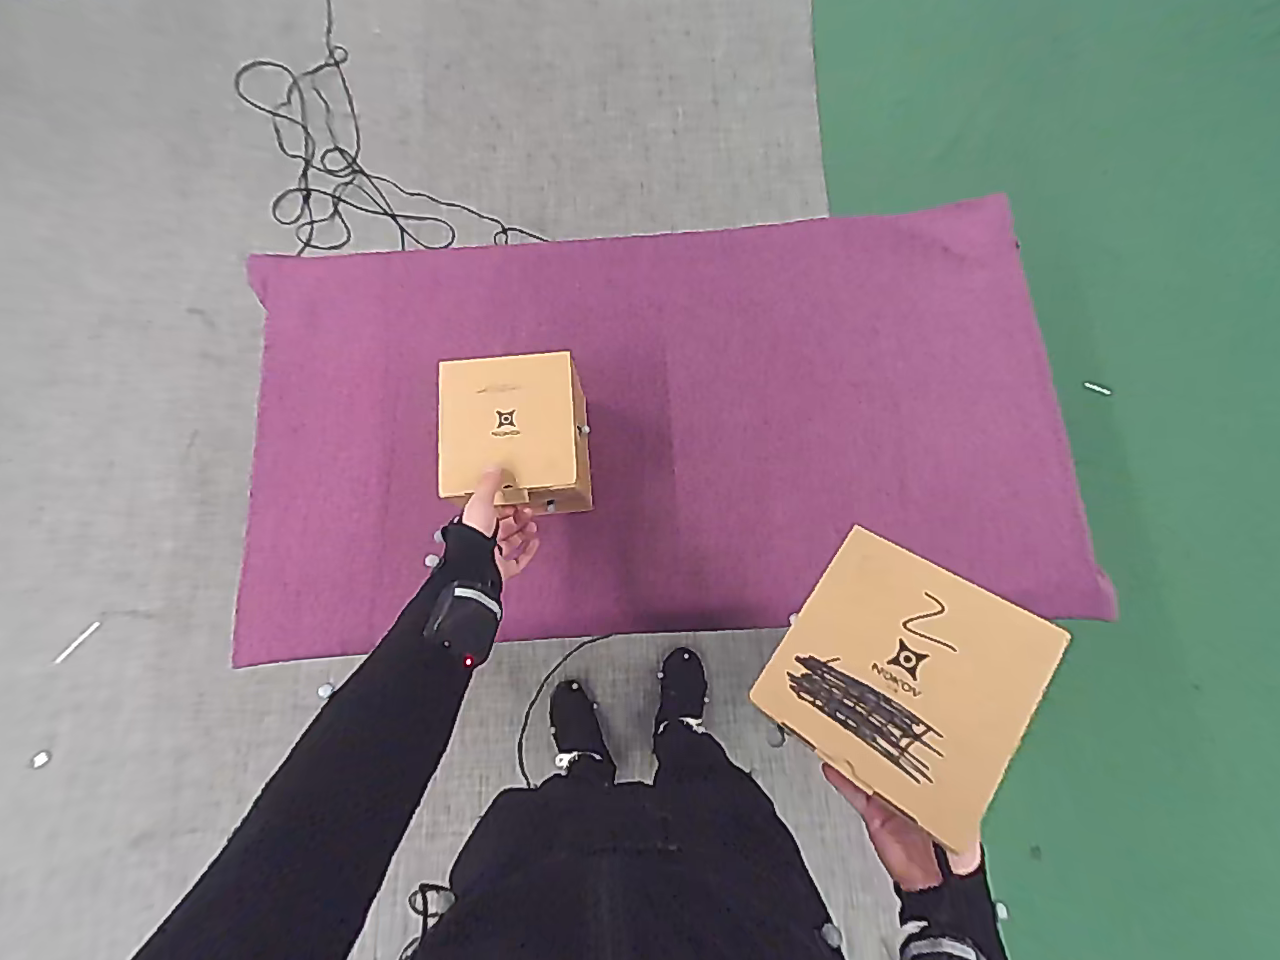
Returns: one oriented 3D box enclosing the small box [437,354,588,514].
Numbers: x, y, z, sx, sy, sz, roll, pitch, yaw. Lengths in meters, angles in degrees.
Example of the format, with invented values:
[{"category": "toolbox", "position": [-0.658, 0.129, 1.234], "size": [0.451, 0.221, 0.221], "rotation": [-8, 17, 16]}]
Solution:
[{"category": "small box", "position": [-0.162, -0.051, 0.736], "size": [0.168, 0.176, 0.179], "rotation": [-4, 76, 0]}]
